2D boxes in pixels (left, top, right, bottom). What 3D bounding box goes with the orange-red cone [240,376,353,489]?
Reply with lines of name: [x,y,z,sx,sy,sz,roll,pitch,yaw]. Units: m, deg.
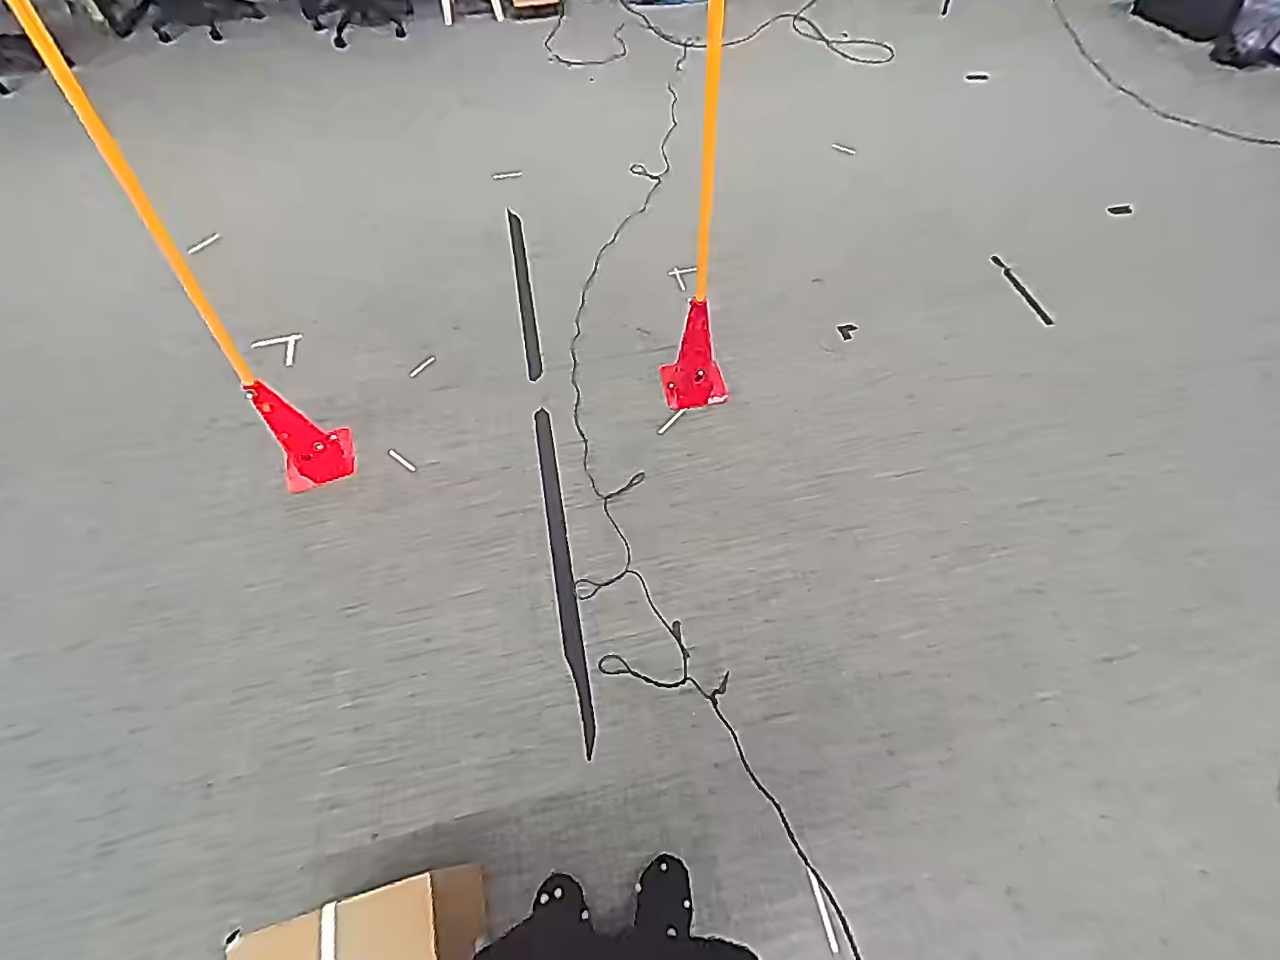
orange-red cone: [-1.003,-0.160,1.533,0.199,0.360,0.198,-19,59,-9]
